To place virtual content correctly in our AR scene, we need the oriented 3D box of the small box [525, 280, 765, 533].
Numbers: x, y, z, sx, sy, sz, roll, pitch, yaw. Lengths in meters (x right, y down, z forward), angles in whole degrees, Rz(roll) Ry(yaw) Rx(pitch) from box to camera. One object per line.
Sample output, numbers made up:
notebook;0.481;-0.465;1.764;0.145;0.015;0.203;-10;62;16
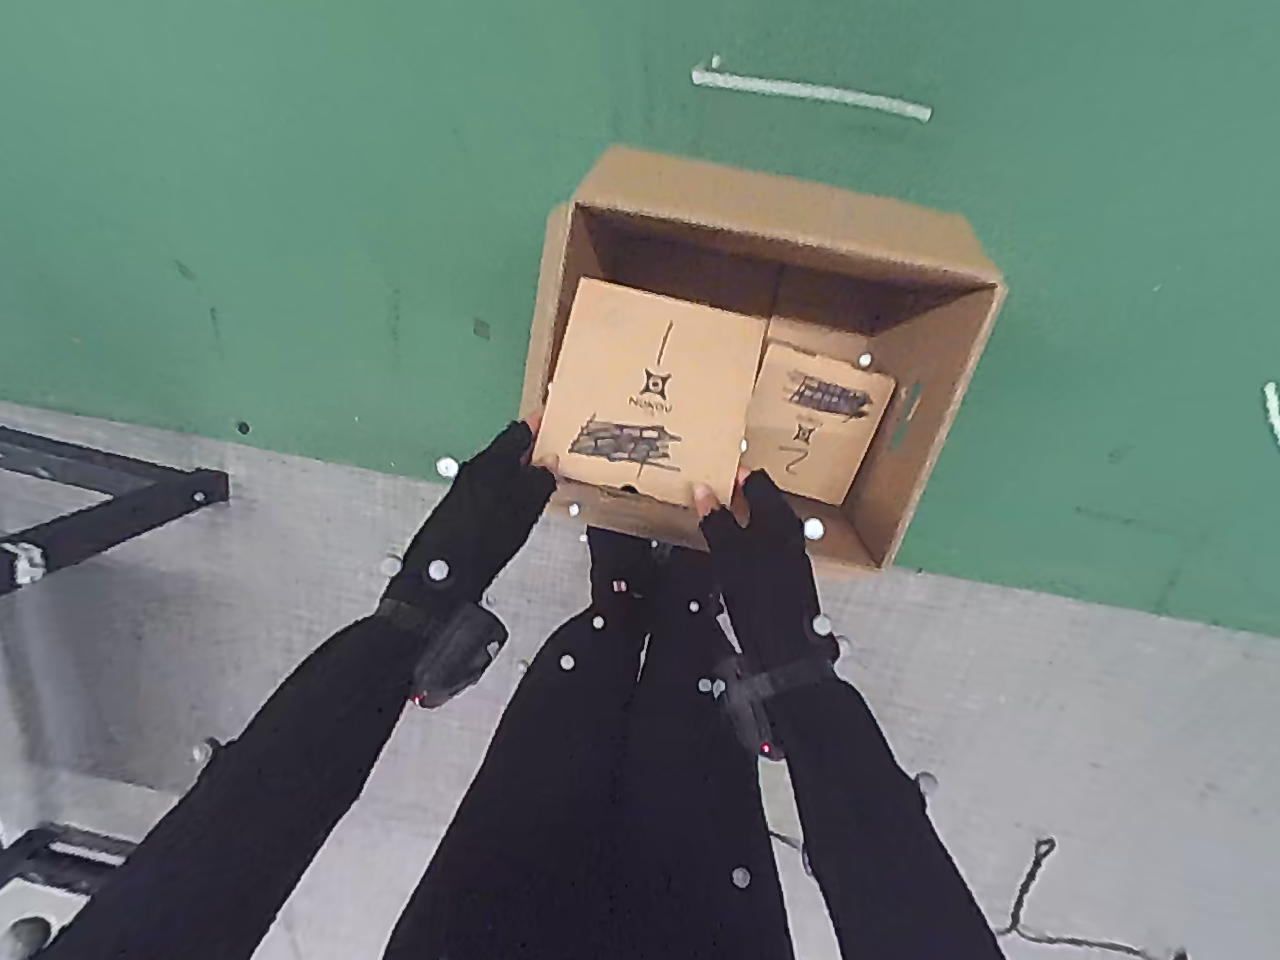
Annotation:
small box;0.003;-0.053;0.517;0.168;0.176;0.179;14;79;-1
